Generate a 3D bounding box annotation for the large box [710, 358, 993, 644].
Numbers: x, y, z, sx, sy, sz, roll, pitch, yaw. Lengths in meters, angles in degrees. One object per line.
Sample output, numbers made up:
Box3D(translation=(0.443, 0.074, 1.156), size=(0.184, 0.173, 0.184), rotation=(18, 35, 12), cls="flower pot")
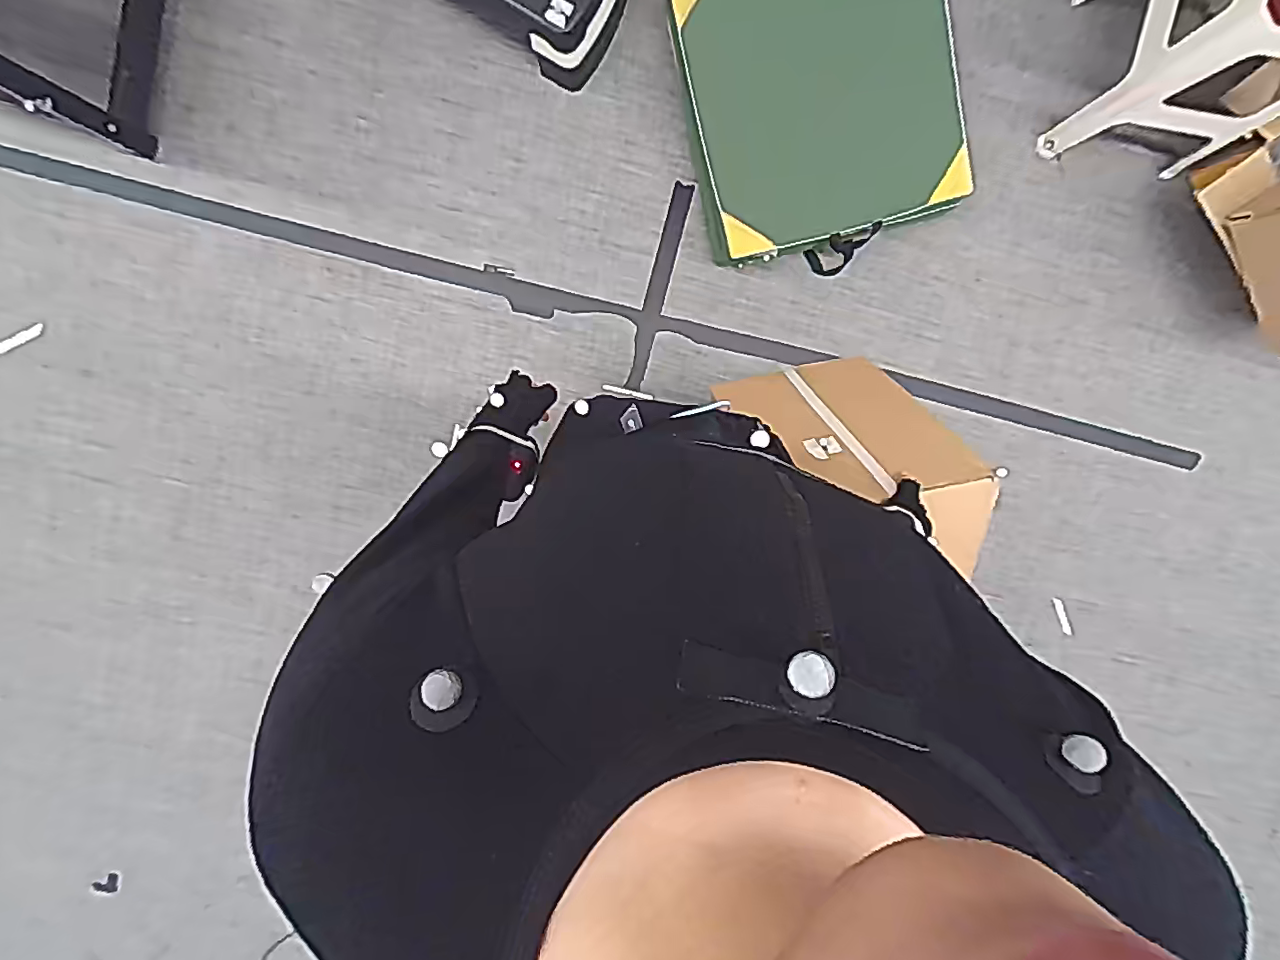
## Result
Box3D(translation=(0.336, 0.023, 0.998), size=(0.320, 0.408, 0.320), rotation=(-13, 129, -2), cls="large box")
